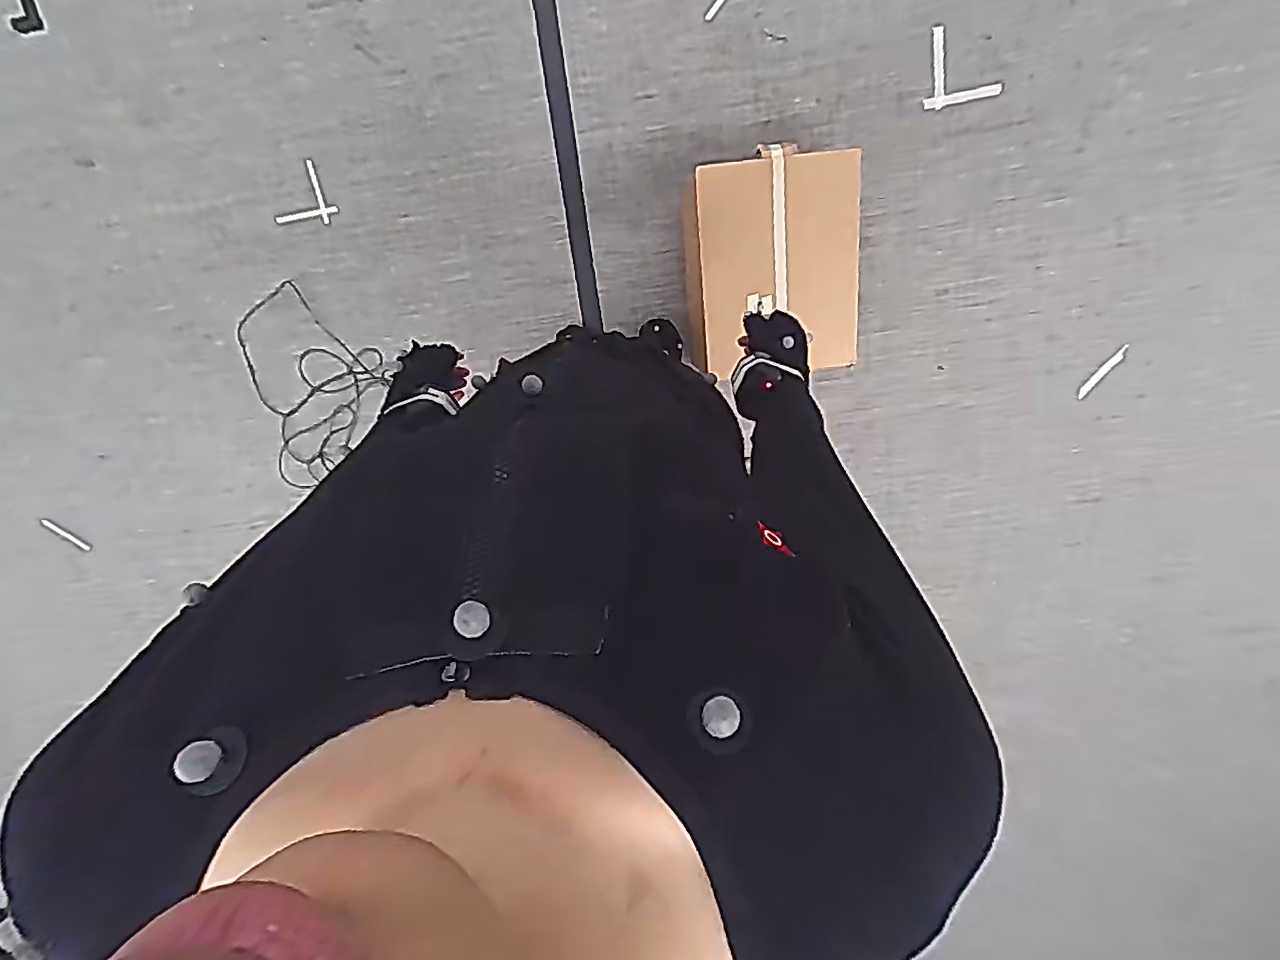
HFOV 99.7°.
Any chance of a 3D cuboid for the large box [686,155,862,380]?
[{"bbox_3d":[0.286,-0.464,1.229,0.320,0.320,0.408,-5,109,1],"label":"large box"}]
